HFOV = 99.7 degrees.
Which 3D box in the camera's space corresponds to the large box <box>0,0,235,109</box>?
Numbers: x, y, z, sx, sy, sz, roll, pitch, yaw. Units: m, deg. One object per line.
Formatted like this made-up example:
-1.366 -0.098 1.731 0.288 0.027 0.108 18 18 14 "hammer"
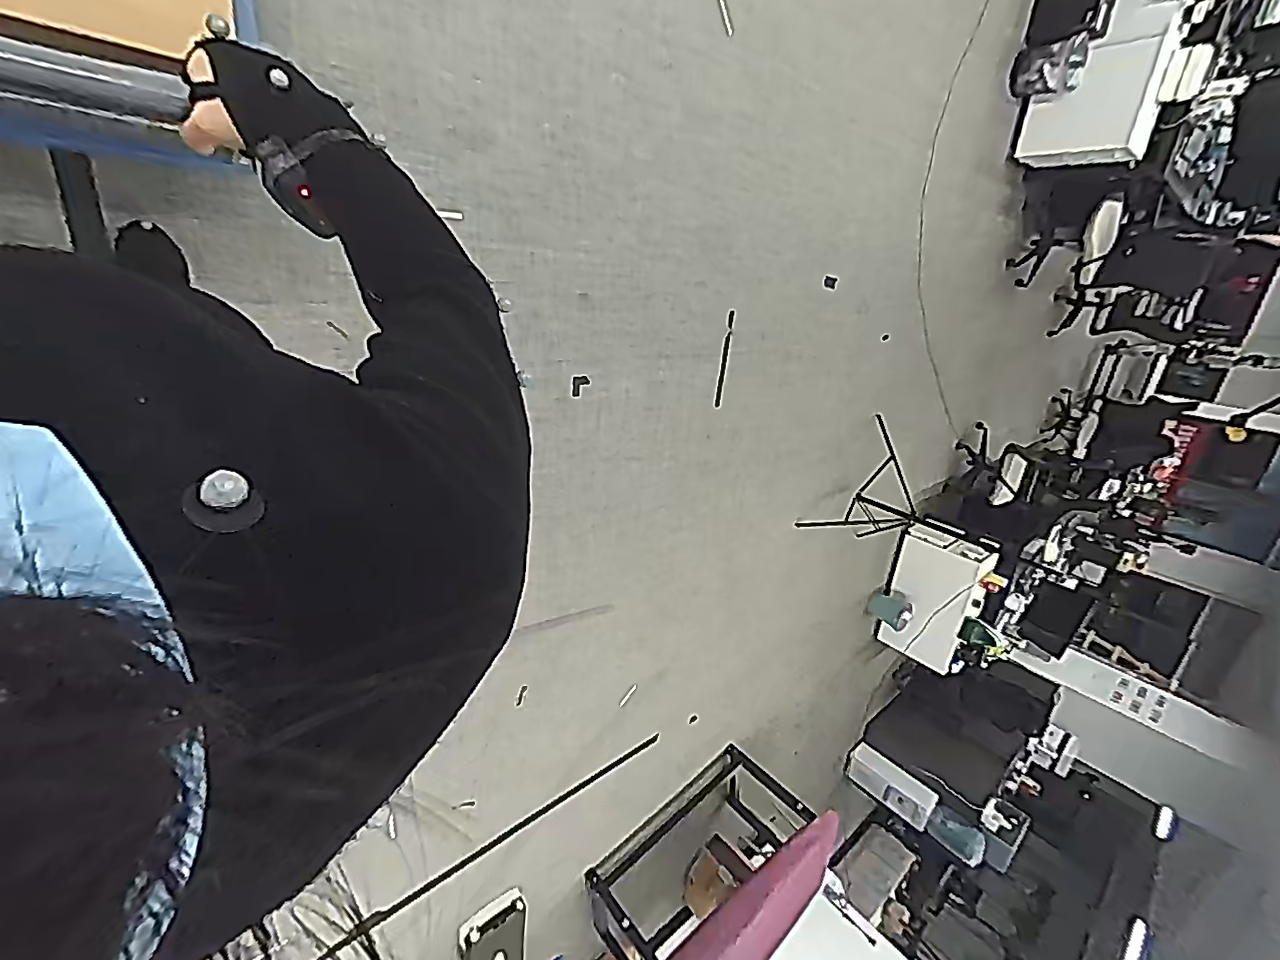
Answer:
-0.770 -0.685 0.636 0.408 0.320 0.320 -13 118 -40 "large box"
